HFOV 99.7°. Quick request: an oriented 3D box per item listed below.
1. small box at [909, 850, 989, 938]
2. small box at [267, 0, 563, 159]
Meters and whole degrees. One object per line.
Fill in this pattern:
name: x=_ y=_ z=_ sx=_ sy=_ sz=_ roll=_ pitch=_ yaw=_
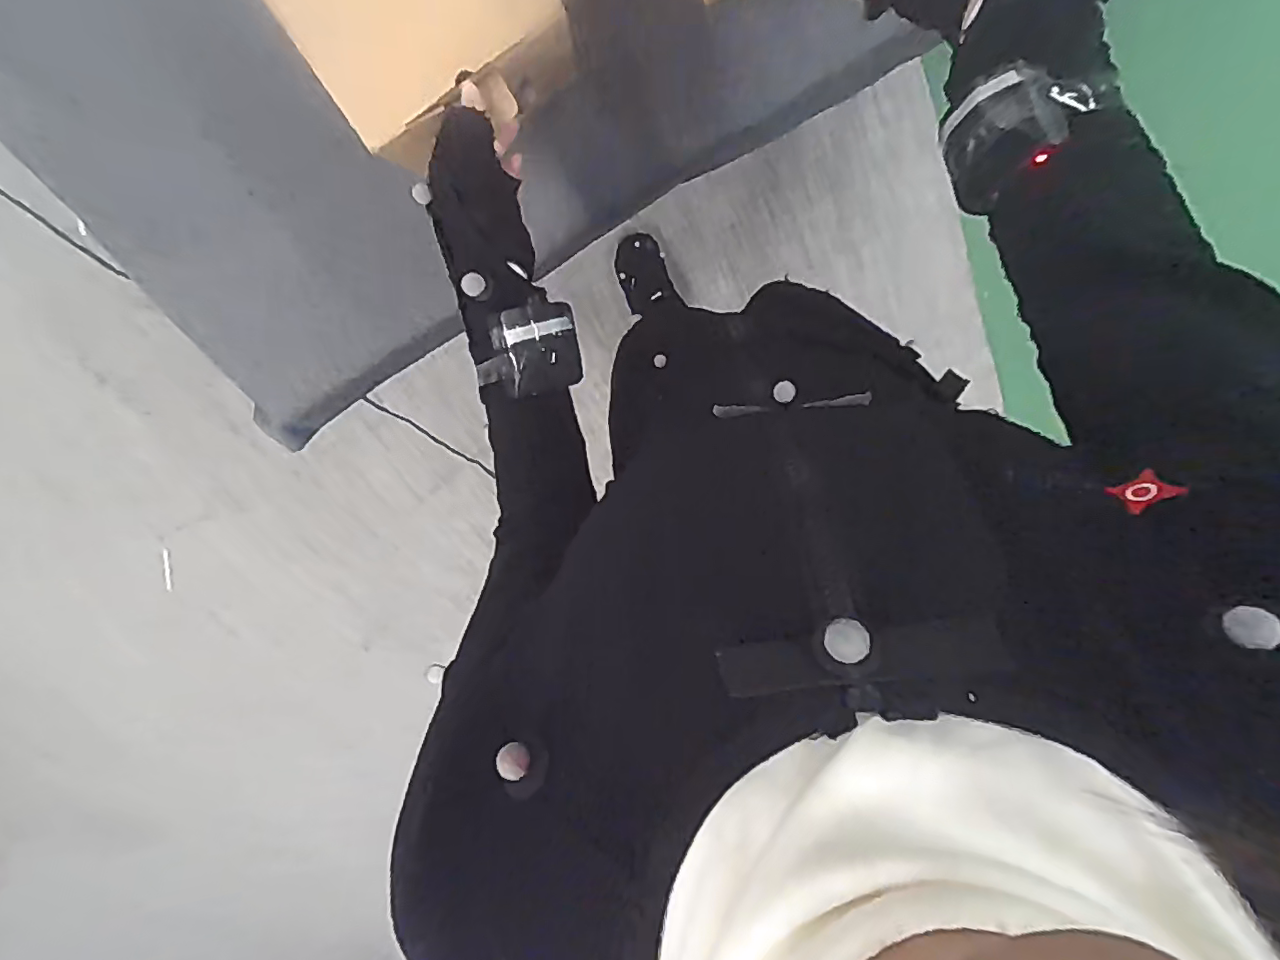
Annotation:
small box: x=1.090 y=1.471 z=1.928 sx=0.179 sy=0.176 sz=0.168 roll=-29 pitch=110 yaw=10
small box: x=-0.172 y=-0.375 z=0.412 sx=0.168 sy=0.176 sz=0.179 roll=-31 pitch=112 yaw=8
